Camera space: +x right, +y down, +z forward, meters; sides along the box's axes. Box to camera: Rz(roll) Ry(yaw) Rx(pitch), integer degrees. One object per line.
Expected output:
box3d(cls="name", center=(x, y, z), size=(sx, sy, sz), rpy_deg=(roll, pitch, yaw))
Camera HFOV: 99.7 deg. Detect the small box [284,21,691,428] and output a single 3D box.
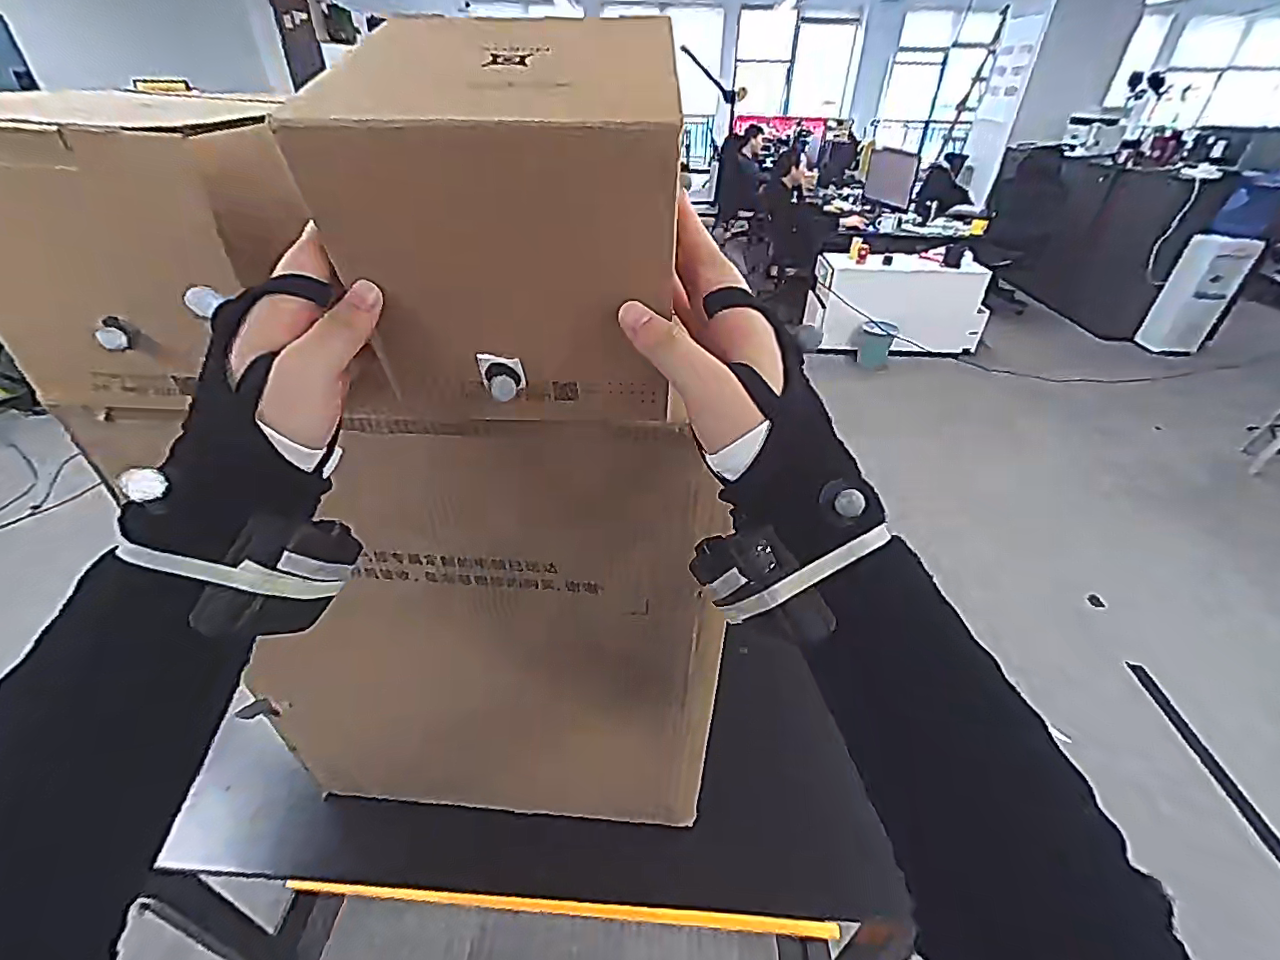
box3d(cls="small box", center=(-0.061, -0.151, 0.328), size=(0.168, 0.176, 0.179), rpy_deg=(-1, 51, 0))
